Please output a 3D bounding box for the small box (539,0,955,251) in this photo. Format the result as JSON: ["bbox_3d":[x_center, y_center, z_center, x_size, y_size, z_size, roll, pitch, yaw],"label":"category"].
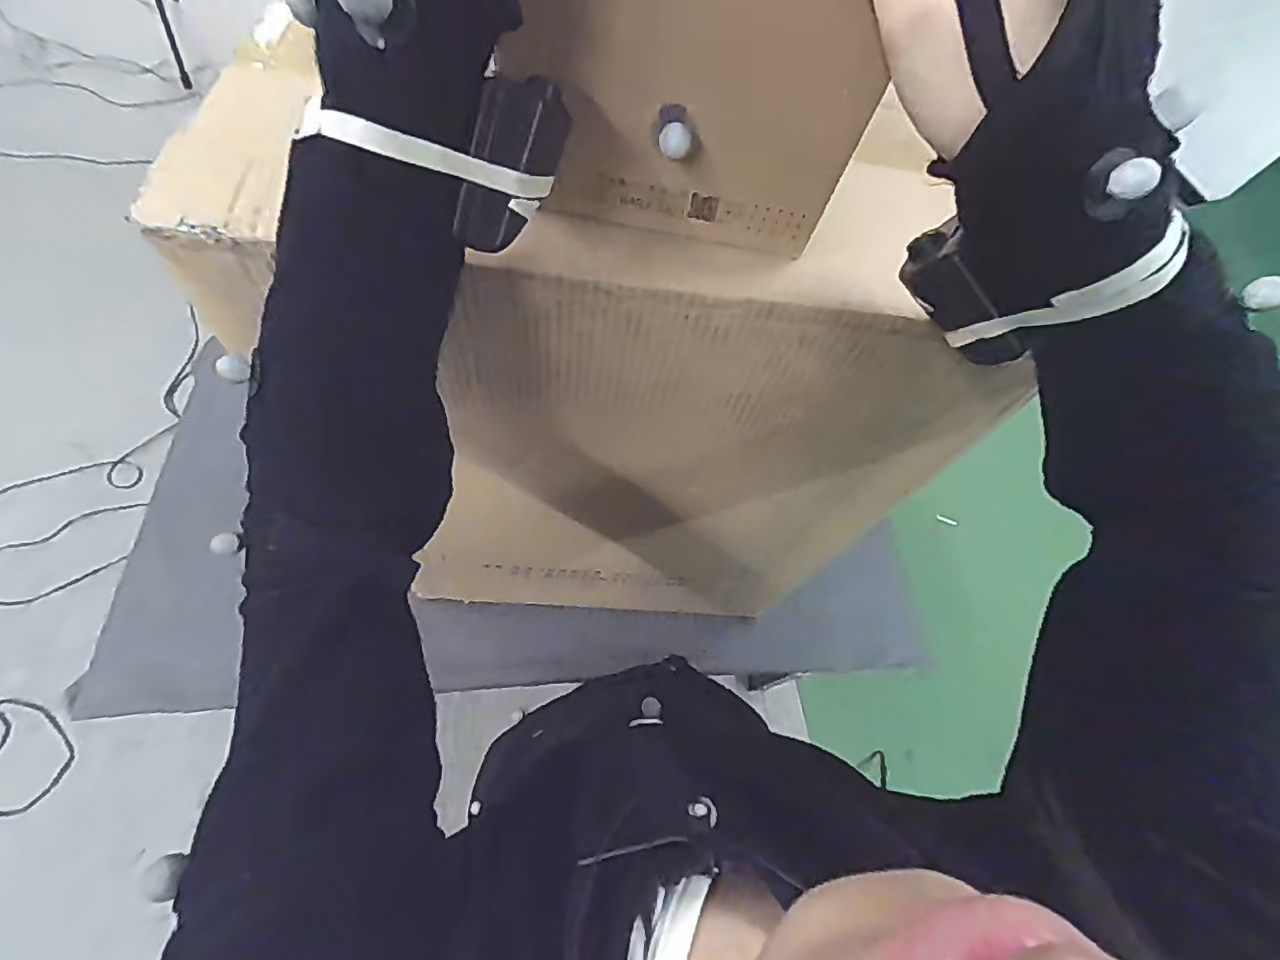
[{"bbox_3d":[0.043,-0.253,0.272,0.168,0.176,0.179,8,63,-5],"label":"small box"}]
